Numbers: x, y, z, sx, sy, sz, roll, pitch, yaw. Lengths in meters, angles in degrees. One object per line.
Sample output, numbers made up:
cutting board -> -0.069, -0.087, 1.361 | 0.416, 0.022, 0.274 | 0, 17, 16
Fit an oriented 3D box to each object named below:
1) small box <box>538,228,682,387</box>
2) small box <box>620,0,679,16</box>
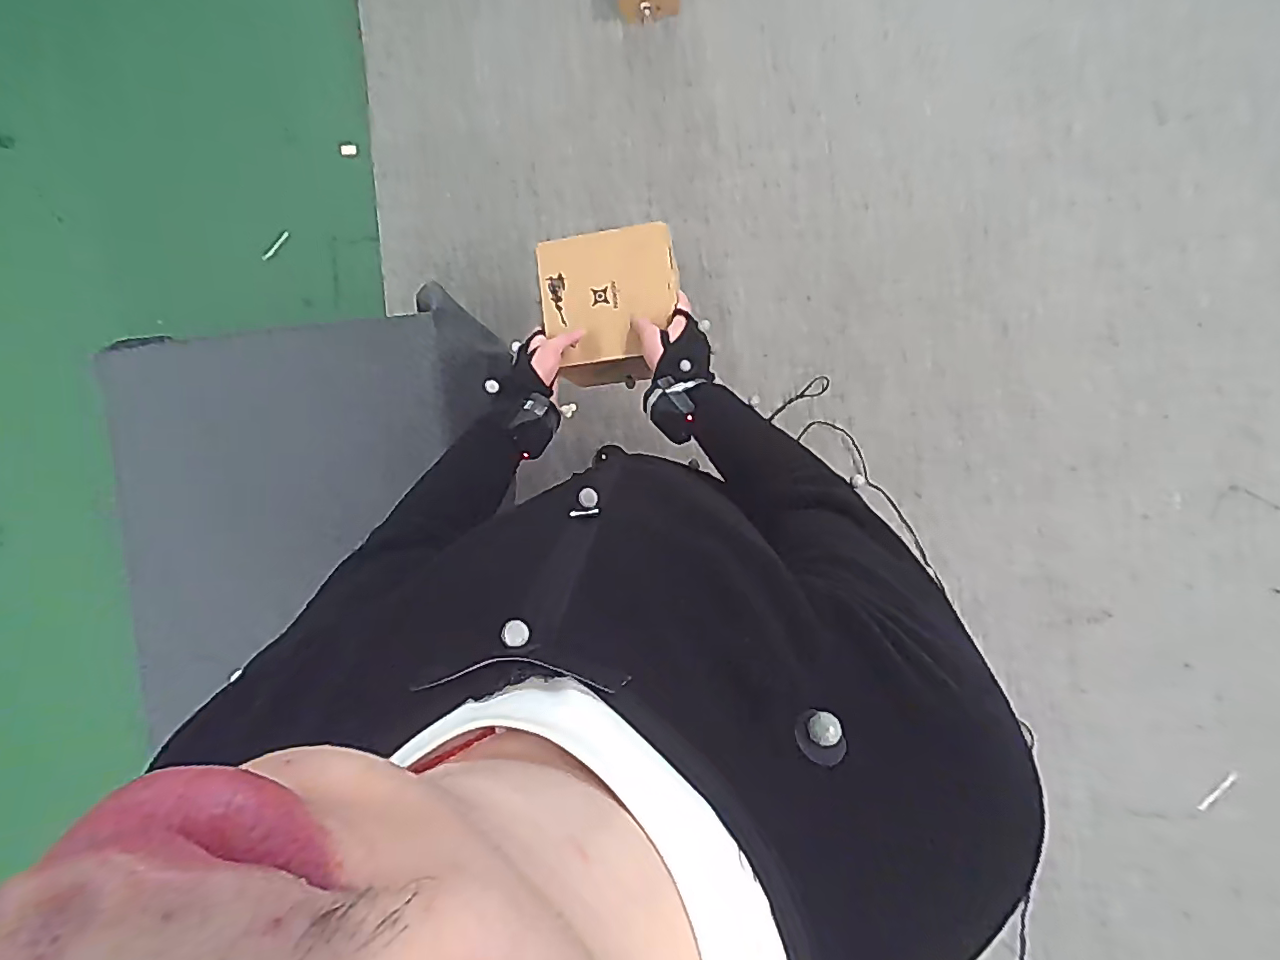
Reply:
small box -> -0.032, -0.233, 0.772 | 0.179, 0.176, 0.168 | -5, 89, 7
small box -> 0.015, -1.381, 1.420 | 0.168, 0.176, 0.179 | -2, 93, 8
